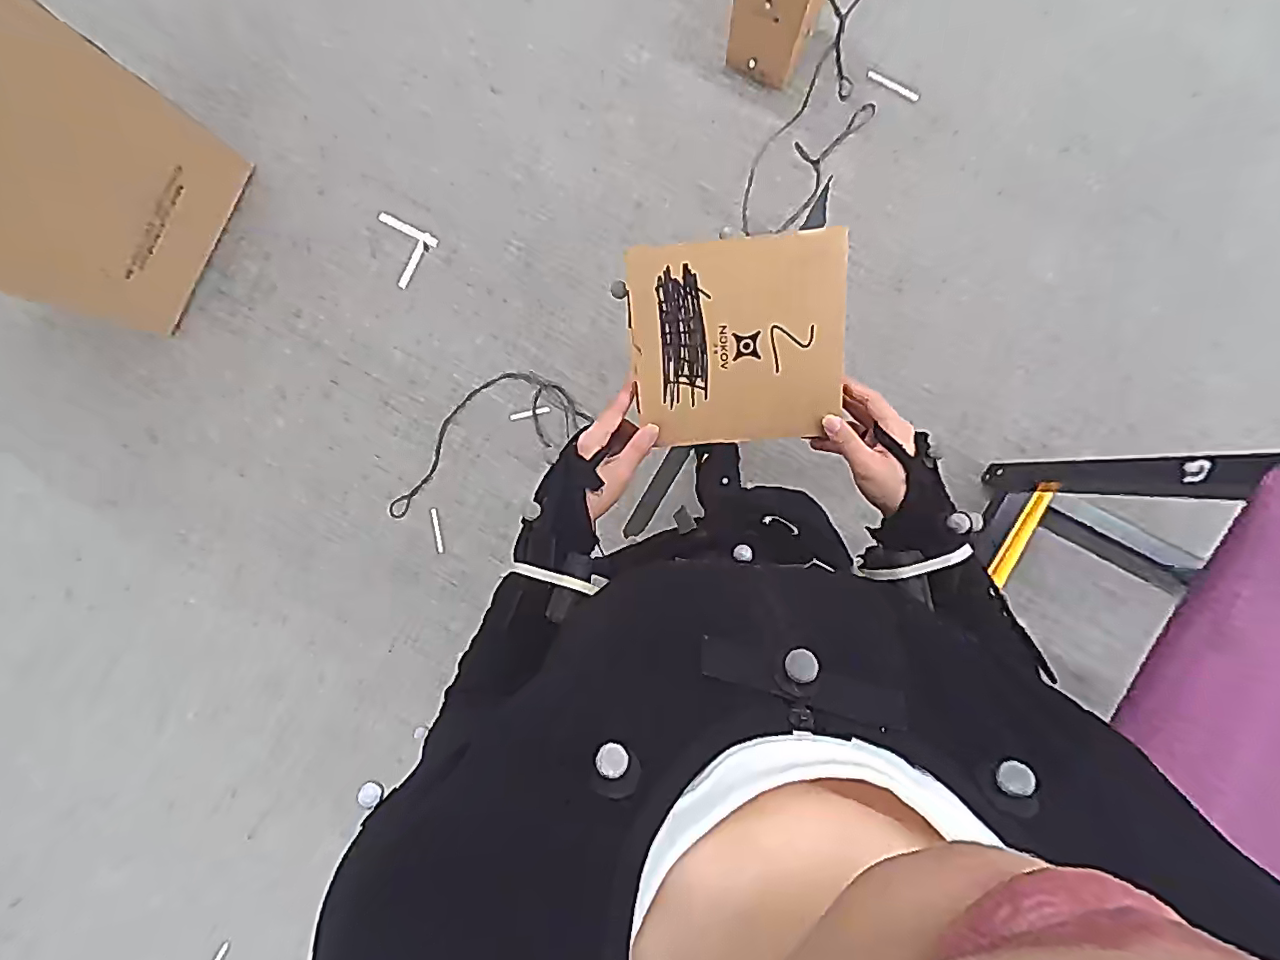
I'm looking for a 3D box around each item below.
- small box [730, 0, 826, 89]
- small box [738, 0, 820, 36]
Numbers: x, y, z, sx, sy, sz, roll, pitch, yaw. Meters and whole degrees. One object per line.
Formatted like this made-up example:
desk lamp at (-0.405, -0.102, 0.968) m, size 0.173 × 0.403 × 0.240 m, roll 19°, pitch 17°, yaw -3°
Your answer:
small box at (0.323, -1.084, 1.271) m, size 0.168 × 0.176 × 0.179 m, roll 29°, pitch 93°, yaw 3°
small box at (0.313, -1.081, 1.106) m, size 0.168 × 0.176 × 0.179 m, roll 28°, pitch 93°, yaw 3°
